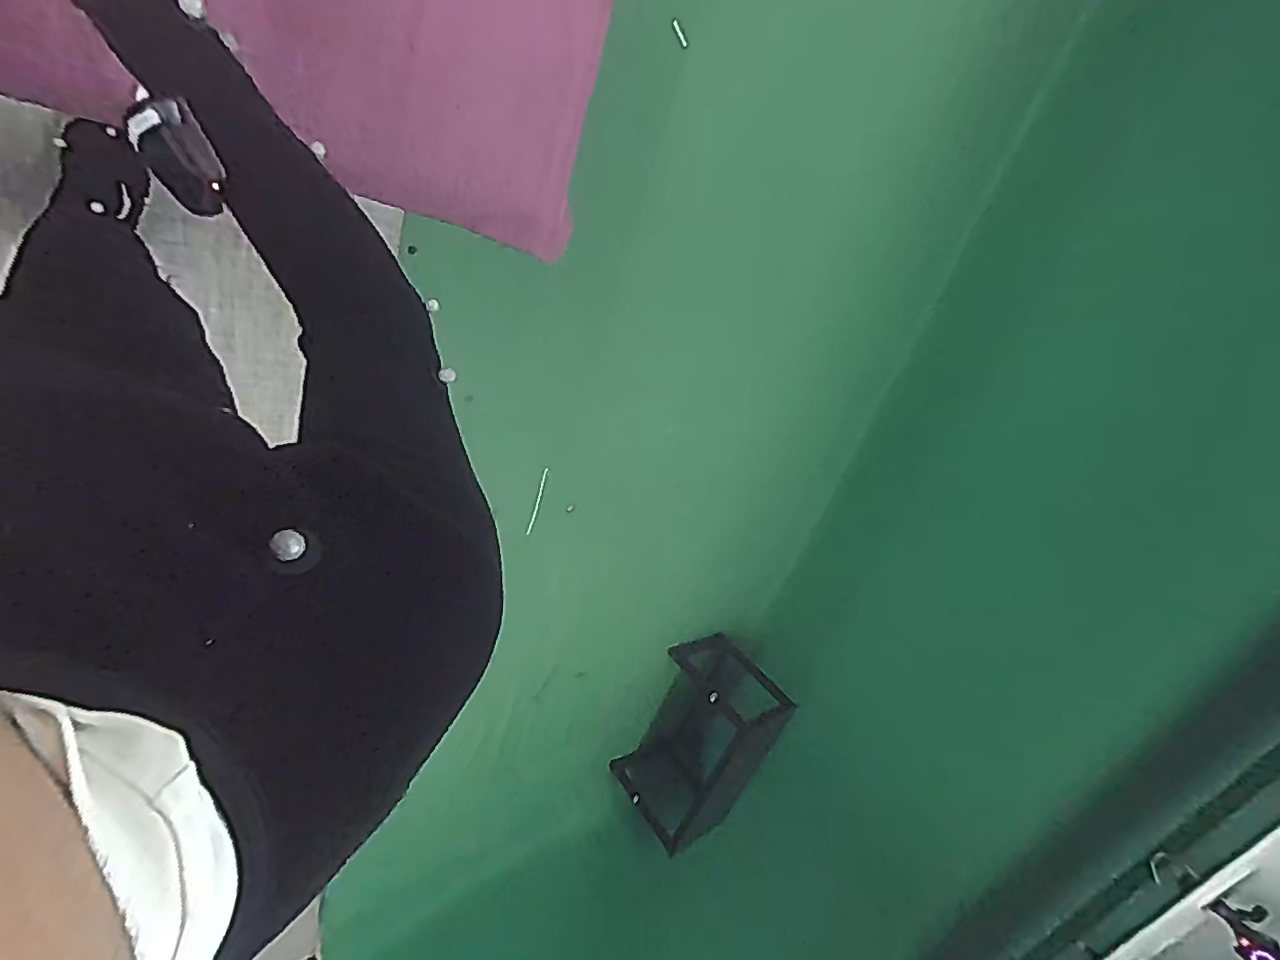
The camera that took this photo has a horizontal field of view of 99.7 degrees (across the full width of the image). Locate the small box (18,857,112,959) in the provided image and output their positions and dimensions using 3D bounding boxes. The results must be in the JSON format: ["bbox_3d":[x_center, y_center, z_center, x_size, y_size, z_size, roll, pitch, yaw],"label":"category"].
[{"bbox_3d":[-1.599,1.211,1.512,0.168,0.176,0.179,-5,125,-43],"label":"small box"}]
